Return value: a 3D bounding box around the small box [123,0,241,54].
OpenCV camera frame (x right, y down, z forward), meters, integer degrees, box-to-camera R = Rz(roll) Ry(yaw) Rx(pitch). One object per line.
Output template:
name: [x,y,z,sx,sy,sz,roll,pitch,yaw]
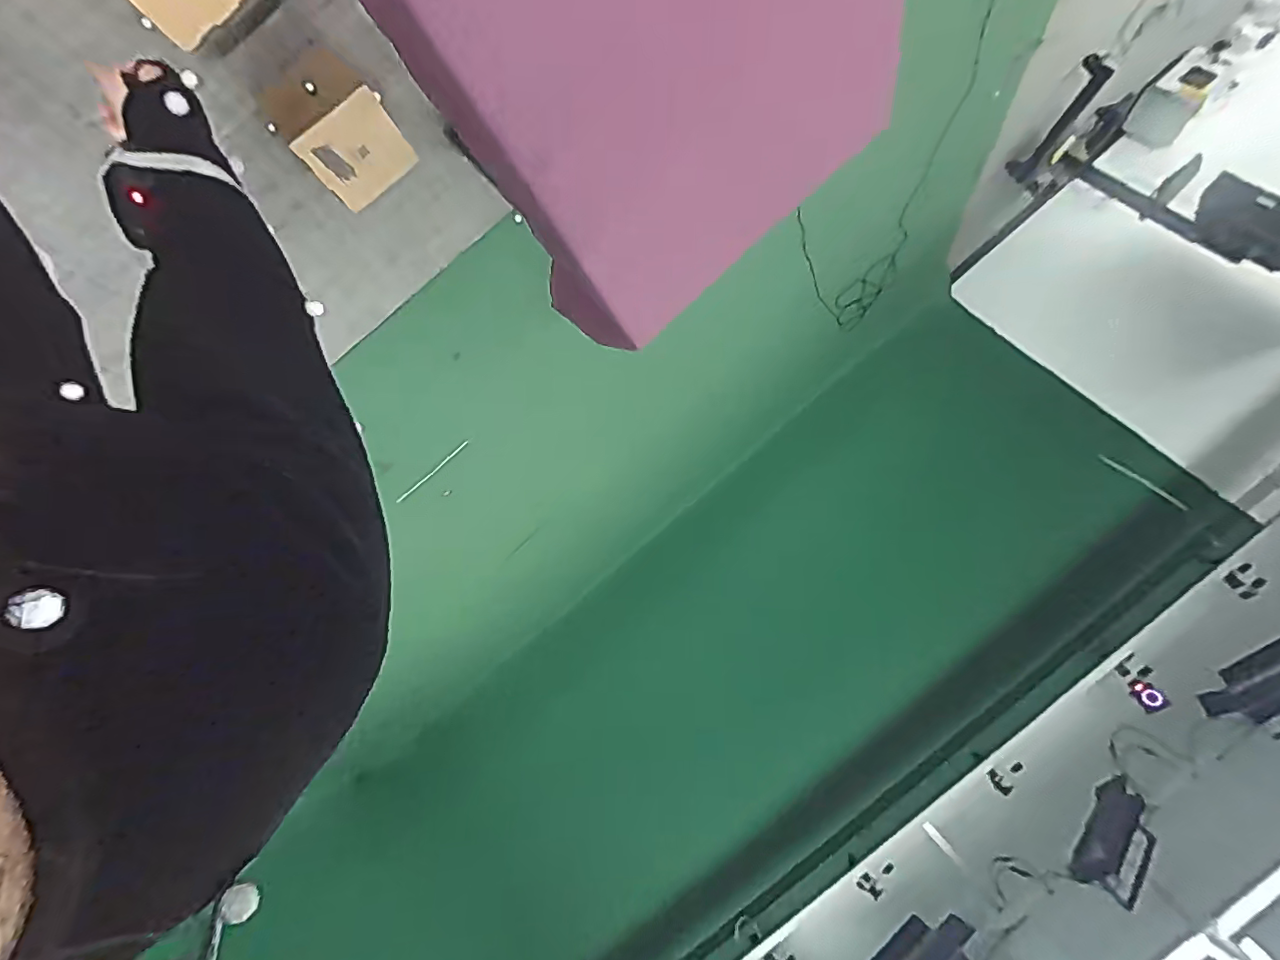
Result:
small box: [-0.676,-0.748,0.734,0.168,0.176,0.179,-41,158,4]
